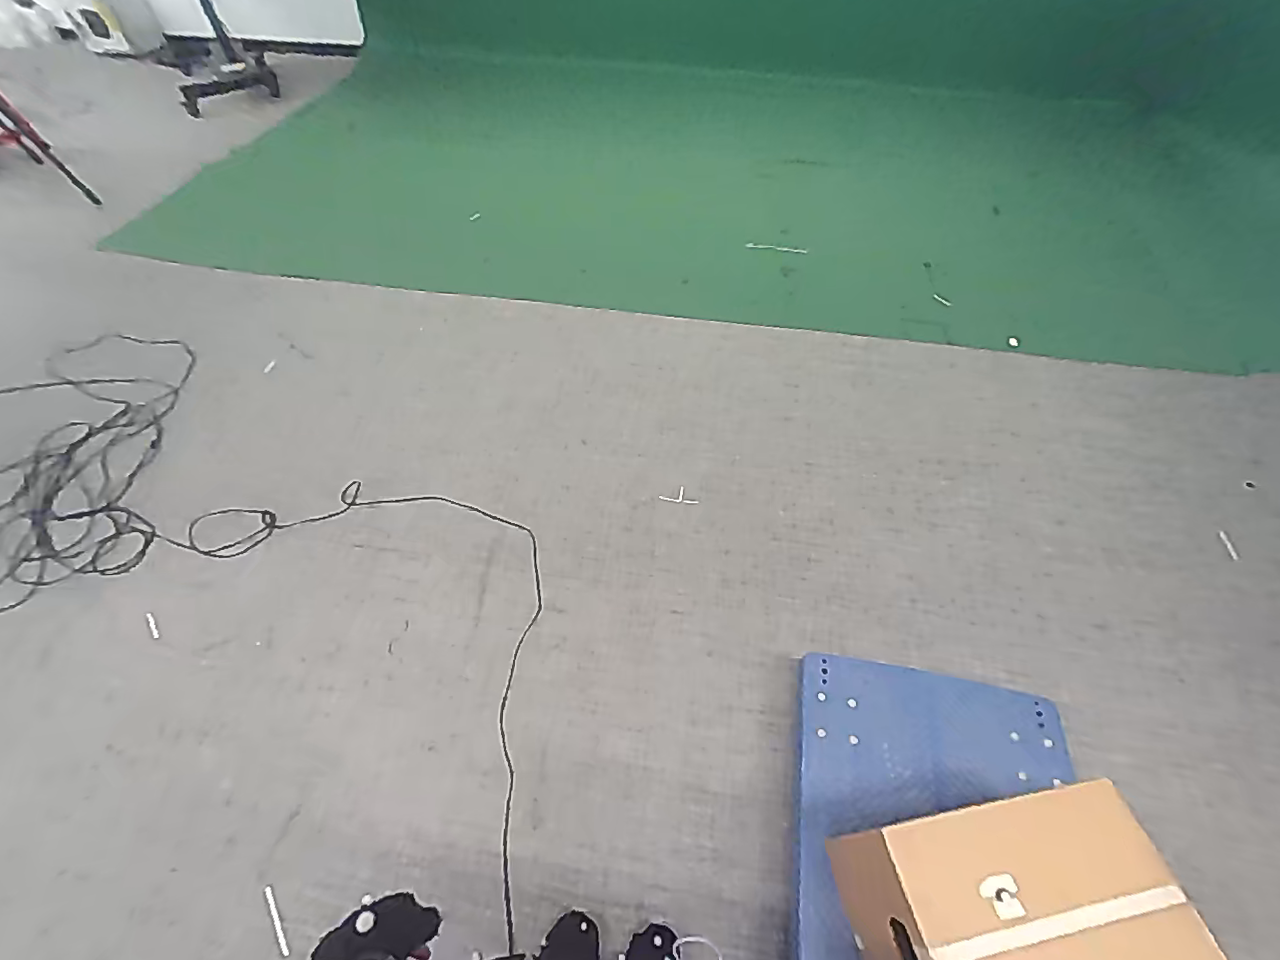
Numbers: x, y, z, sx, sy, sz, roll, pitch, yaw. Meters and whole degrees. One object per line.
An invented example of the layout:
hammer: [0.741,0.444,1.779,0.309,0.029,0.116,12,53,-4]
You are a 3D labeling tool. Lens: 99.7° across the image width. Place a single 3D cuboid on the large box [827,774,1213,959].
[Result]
large box: [0.591,0.722,0.898,0.408,0.320,0.320,-9,53,-6]
